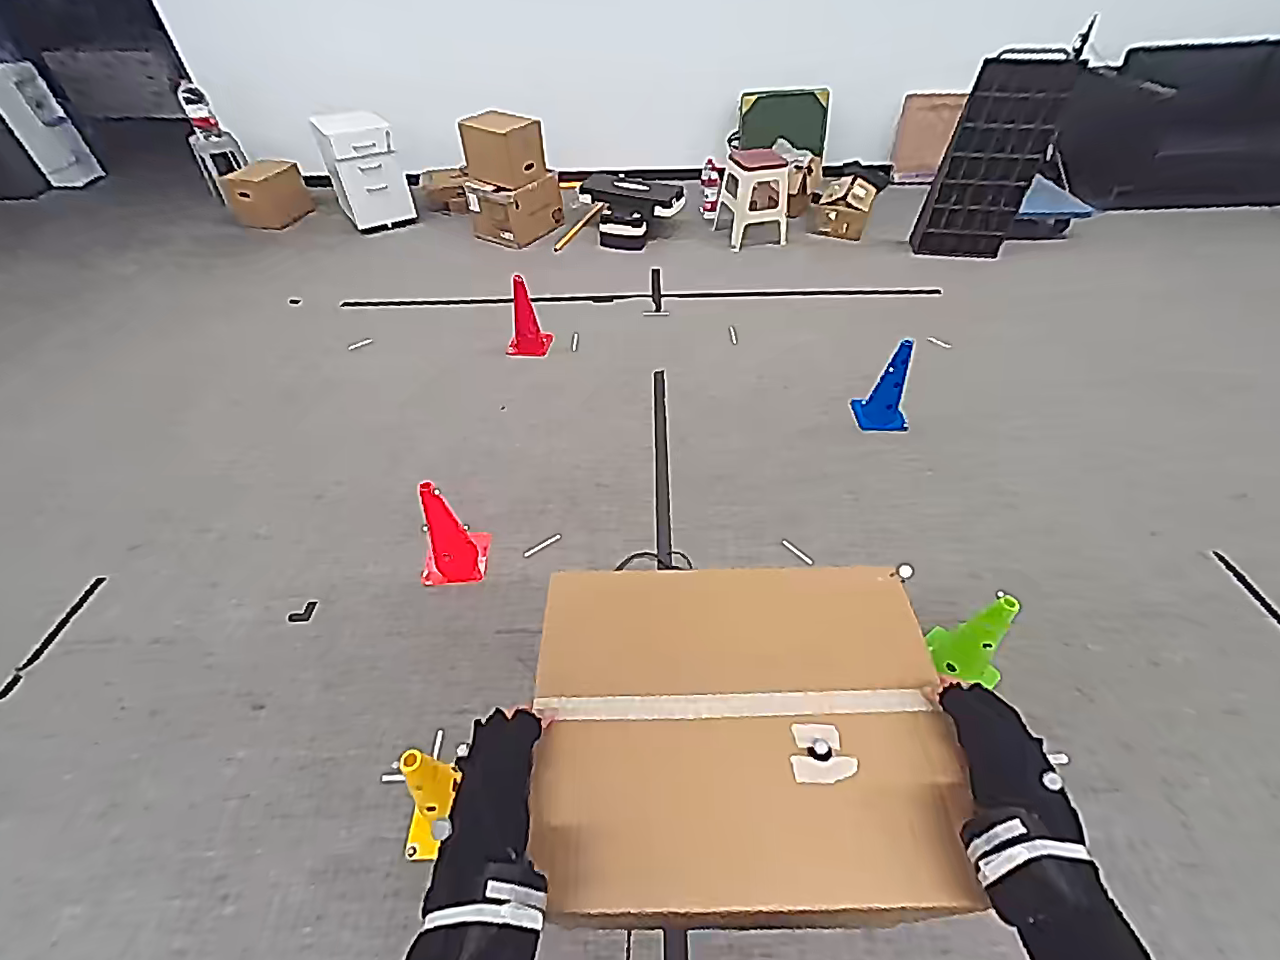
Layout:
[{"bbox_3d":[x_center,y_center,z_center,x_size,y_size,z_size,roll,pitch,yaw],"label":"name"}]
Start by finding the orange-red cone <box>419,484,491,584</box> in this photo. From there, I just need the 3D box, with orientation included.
[{"bbox_3d":[-0.611,0.144,1.683,0.198,0.360,0.199,-4,48,-1],"label":"orange-red cone"}]

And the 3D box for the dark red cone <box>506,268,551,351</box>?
[{"bbox_3d":[-0.551,-0.809,2.566,0.201,0.394,0.202,4,46,4],"label":"dark red cone"}]

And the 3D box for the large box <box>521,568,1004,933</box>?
[{"bbox_3d":[0.097,0.324,0.645,0.408,0.320,0.320,-1,48,0],"label":"large box"}]

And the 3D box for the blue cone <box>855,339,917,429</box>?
[{"bbox_3d":[1.021,-0.395,2.180,0.192,0.380,0.193,2,46,2],"label":"blue cone"}]

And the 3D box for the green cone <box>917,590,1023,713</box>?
[{"bbox_3d":[0.876,0.404,1.391,0.202,0.368,0.200,-29,53,-26],"label":"green cone"}]
